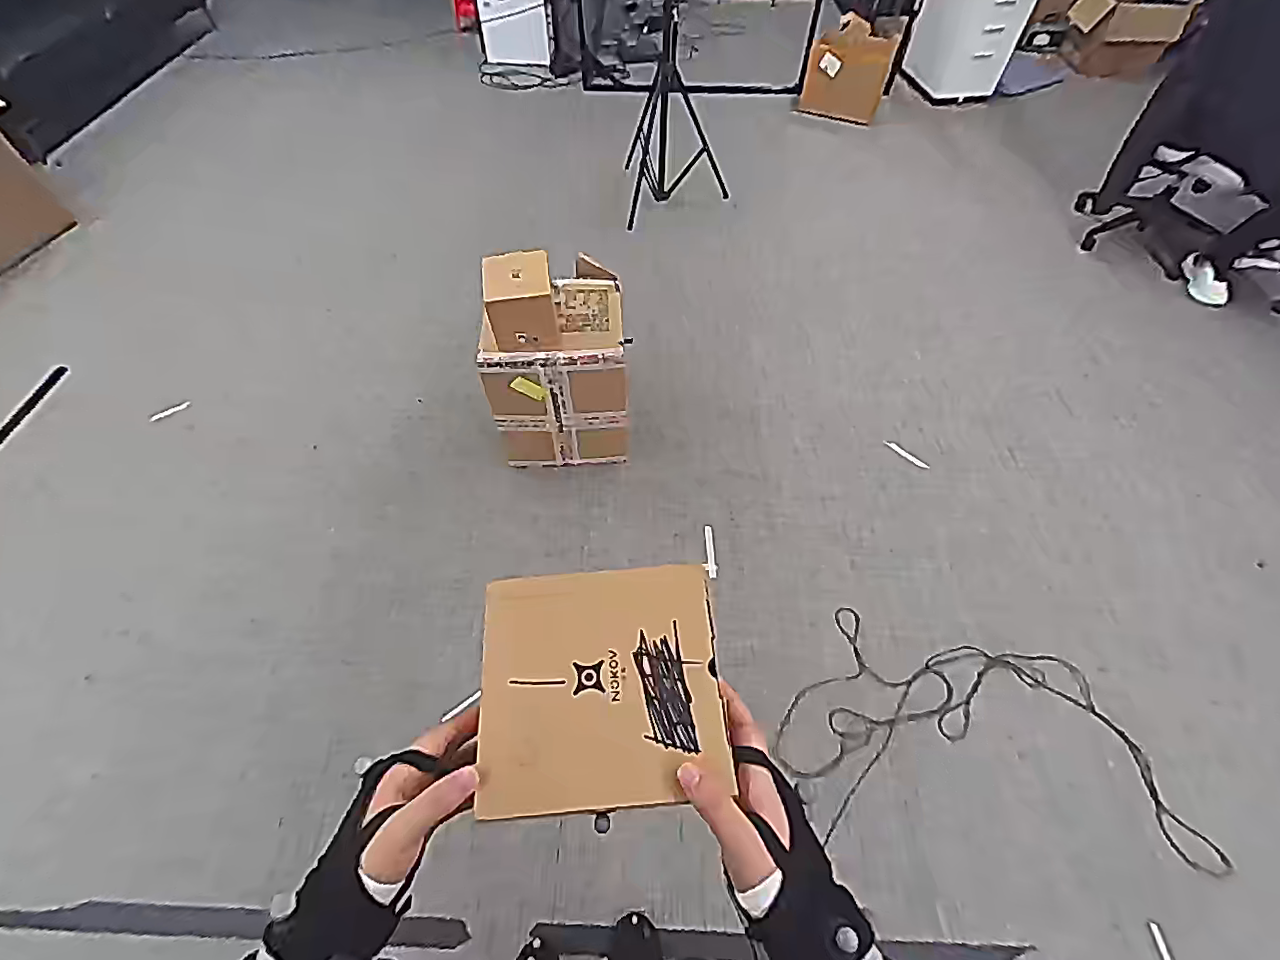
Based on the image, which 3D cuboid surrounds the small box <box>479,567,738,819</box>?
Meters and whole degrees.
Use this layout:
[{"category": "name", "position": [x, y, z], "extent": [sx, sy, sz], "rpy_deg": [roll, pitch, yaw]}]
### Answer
[{"category": "small box", "position": [-0.026, 0.186, 0.467], "extent": [0.179, 0.176, 0.168], "rpy_deg": [-5, 59, -2]}]

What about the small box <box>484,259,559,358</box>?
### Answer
[{"category": "small box", "position": [-0.309, -0.449, 1.421], "extent": [0.168, 0.176, 0.179], "rpy_deg": [-9, 60, -5]}]
